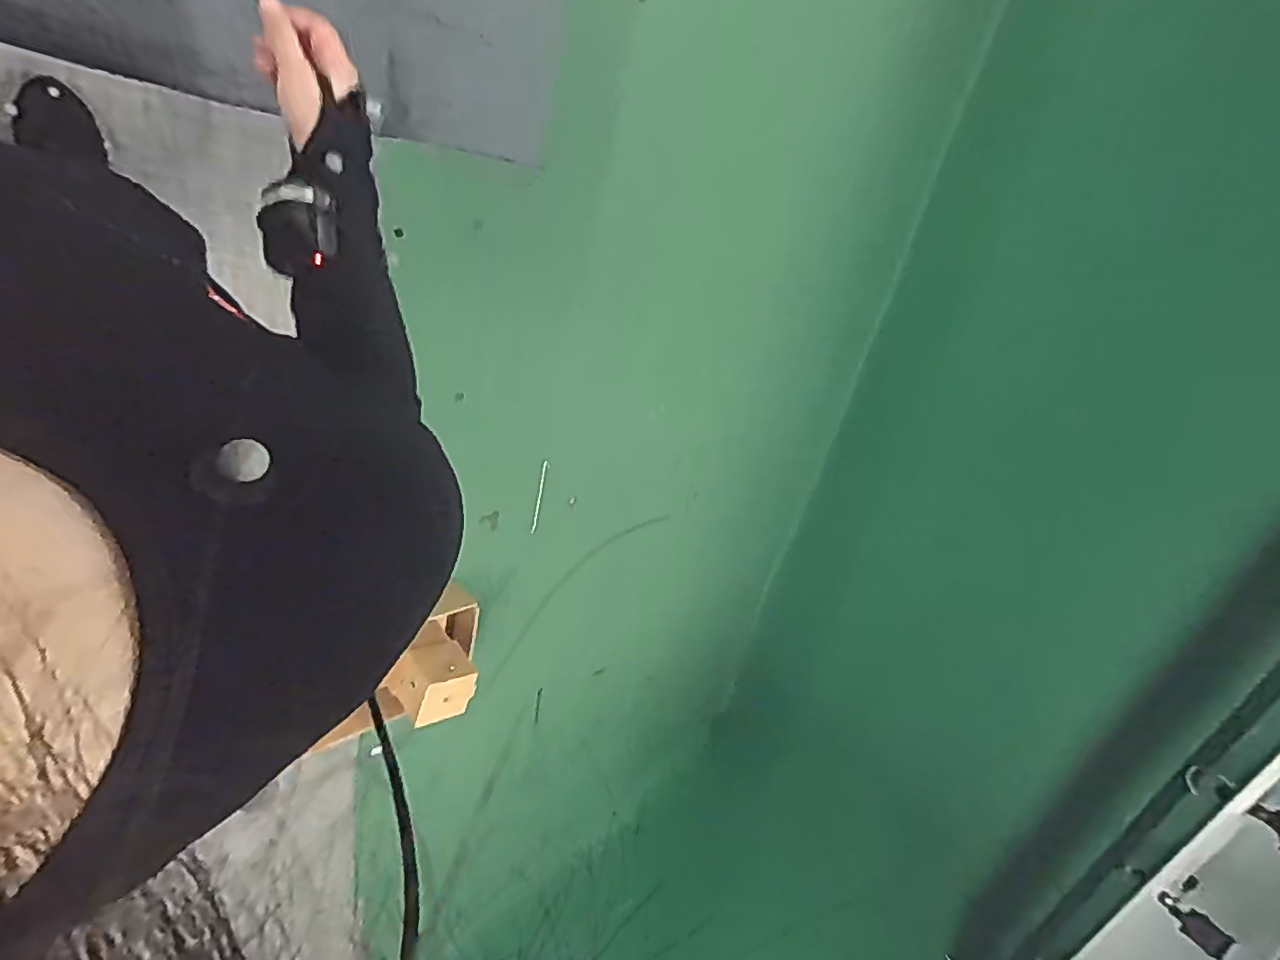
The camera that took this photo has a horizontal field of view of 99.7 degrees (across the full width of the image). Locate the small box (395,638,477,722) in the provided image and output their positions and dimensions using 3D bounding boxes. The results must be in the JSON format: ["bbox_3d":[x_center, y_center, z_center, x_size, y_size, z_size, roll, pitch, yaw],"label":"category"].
[{"bbox_3d":[-0.661,0.637,1.742,0.179,0.176,0.168,3,115,-50],"label":"small box"}]

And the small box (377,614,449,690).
[{"bbox_3d":[-0.773,0.583,1.849,0.168,0.176,0.179,11,108,-51],"label":"small box"}]
